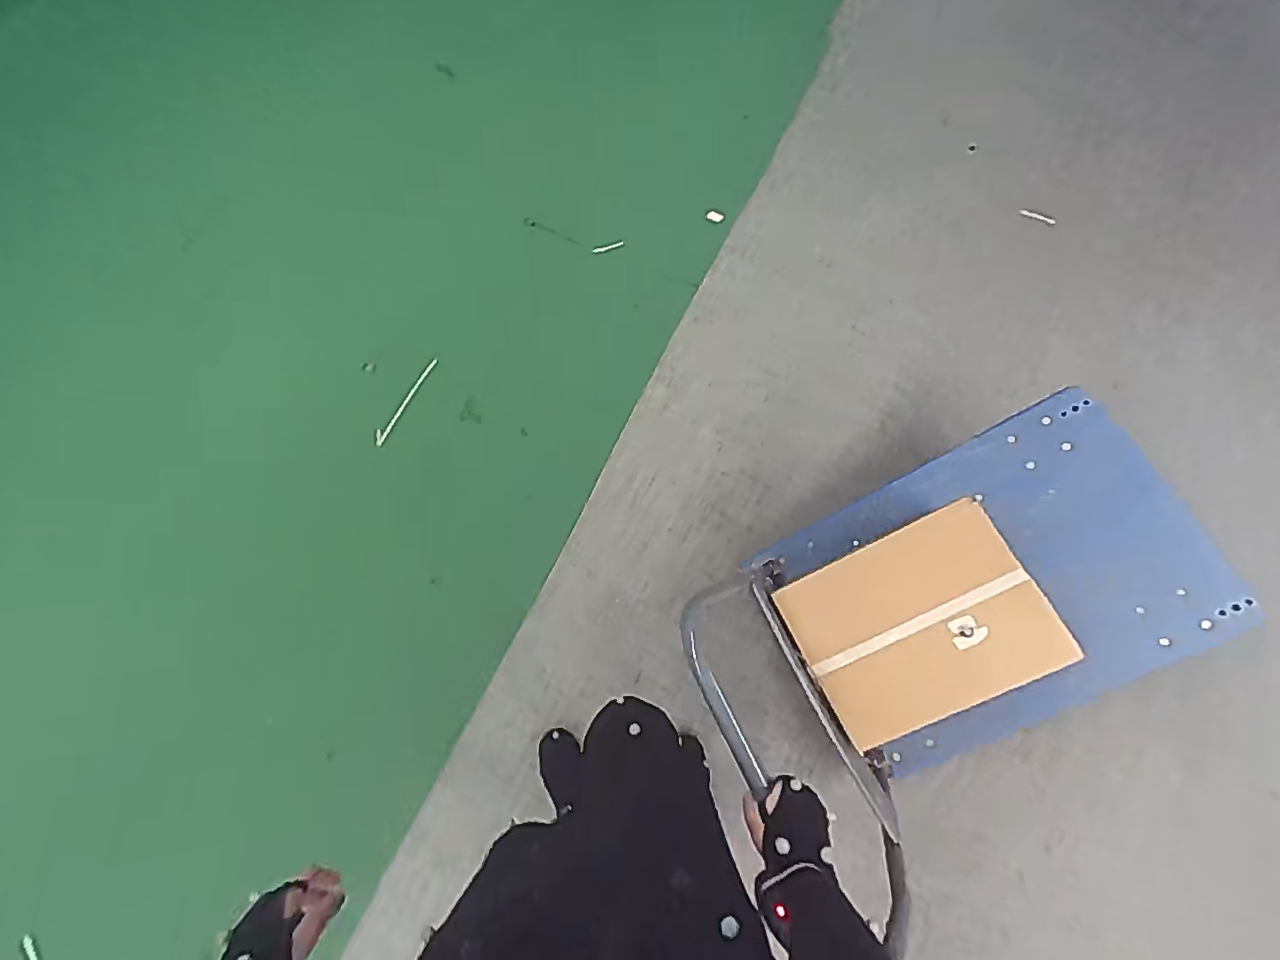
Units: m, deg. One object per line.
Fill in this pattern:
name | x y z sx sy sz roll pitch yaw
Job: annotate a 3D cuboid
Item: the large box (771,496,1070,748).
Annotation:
large box | 0.529 0.282 1.115 0.408 0.320 0.320 -30 74 10
